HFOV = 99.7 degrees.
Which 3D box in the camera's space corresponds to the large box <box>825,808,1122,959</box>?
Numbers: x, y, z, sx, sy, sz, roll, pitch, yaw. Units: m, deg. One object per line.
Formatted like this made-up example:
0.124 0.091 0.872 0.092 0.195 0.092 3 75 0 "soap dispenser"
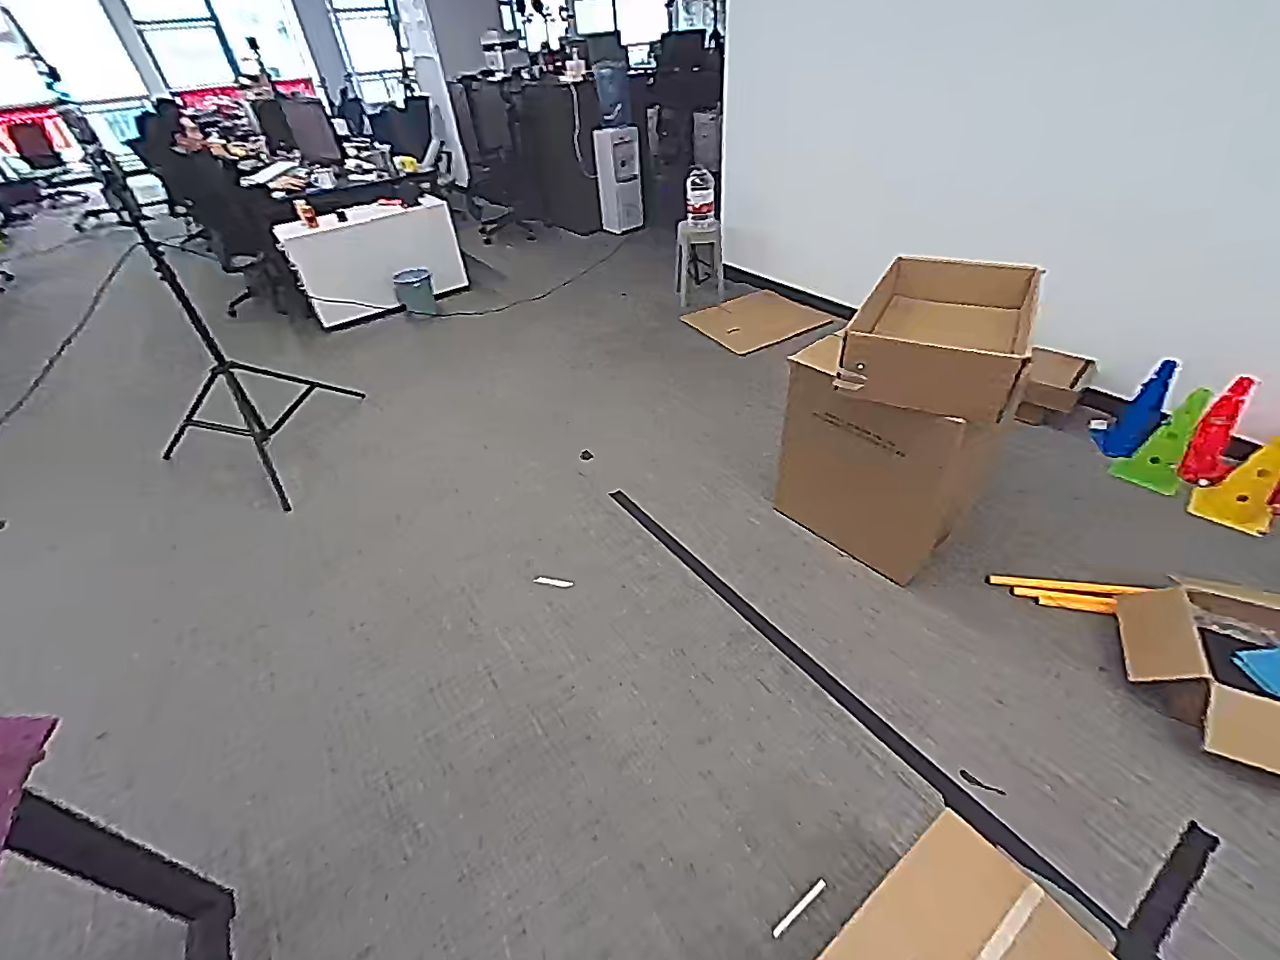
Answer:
0.501 0.856 0.885 0.408 0.320 0.320 -29 45 -25 "large box"
